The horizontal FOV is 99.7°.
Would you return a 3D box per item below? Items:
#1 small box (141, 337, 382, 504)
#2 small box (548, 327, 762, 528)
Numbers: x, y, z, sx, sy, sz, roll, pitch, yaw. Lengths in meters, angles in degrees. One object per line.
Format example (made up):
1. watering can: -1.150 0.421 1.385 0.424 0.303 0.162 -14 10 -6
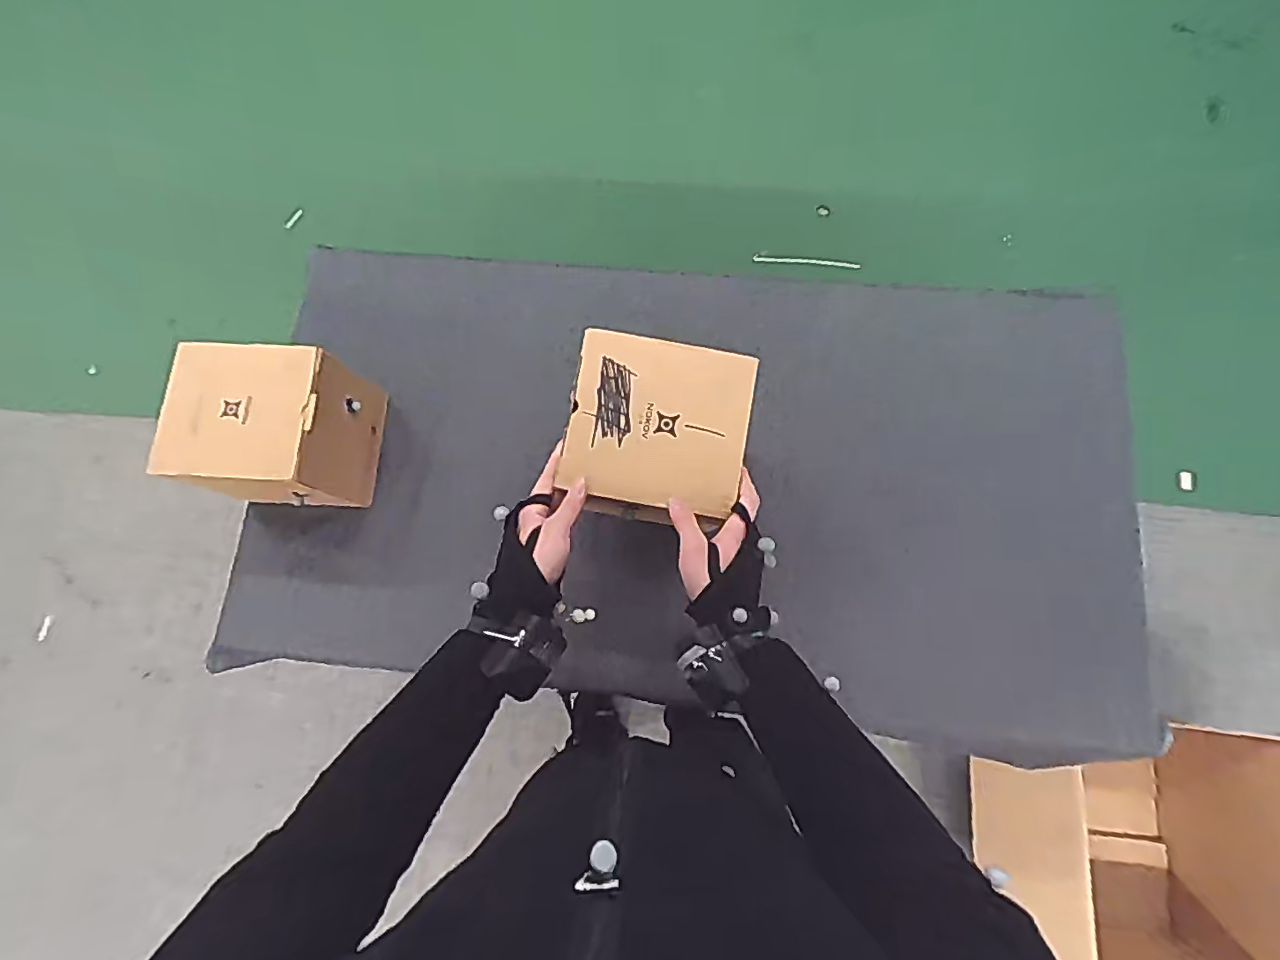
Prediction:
1. small box: -0.459 -0.066 0.689 0.179 0.176 0.168 2 77 4
2. small box: 0.016 -0.044 0.598 0.179 0.176 0.168 14 83 1
